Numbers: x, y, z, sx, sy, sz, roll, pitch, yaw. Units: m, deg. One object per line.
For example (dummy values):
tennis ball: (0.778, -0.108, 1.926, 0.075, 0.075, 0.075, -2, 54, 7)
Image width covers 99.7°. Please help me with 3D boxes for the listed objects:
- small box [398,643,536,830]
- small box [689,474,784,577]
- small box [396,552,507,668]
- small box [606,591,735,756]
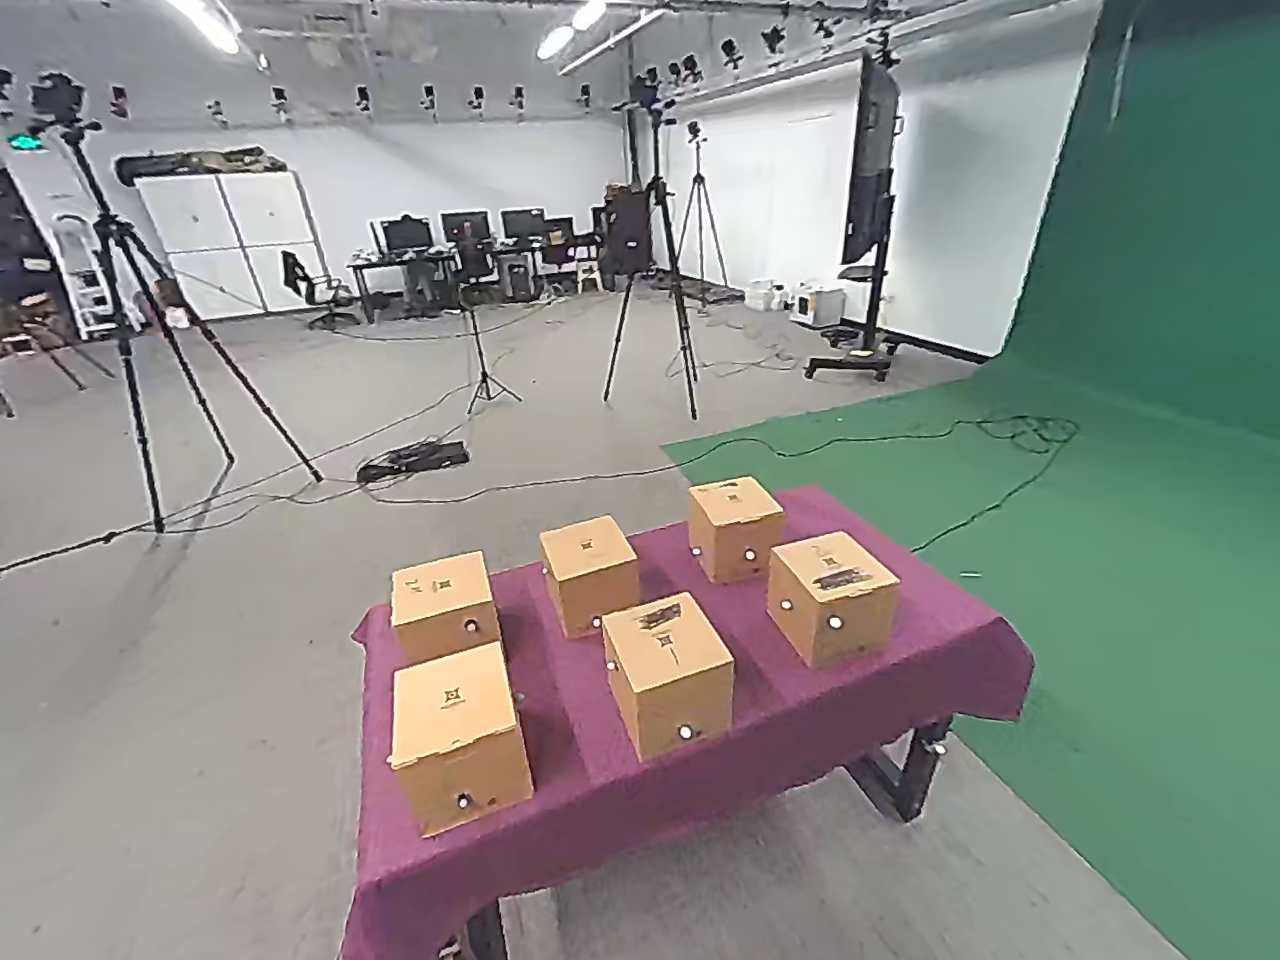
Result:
small box: (-0.268, 0.394, 0.845, 0.168, 0.176, 0.179, -14, 31, -16)
small box: (0.223, 0.111, 1.274, 0.168, 0.176, 0.179, -10, 31, -11)
small box: (-0.366, 0.274, 1.069, 0.179, 0.176, 0.168, -13, 30, -16)
small box: (0.047, 0.325, 0.921, 0.168, 0.176, 0.179, -14, 31, -15)
